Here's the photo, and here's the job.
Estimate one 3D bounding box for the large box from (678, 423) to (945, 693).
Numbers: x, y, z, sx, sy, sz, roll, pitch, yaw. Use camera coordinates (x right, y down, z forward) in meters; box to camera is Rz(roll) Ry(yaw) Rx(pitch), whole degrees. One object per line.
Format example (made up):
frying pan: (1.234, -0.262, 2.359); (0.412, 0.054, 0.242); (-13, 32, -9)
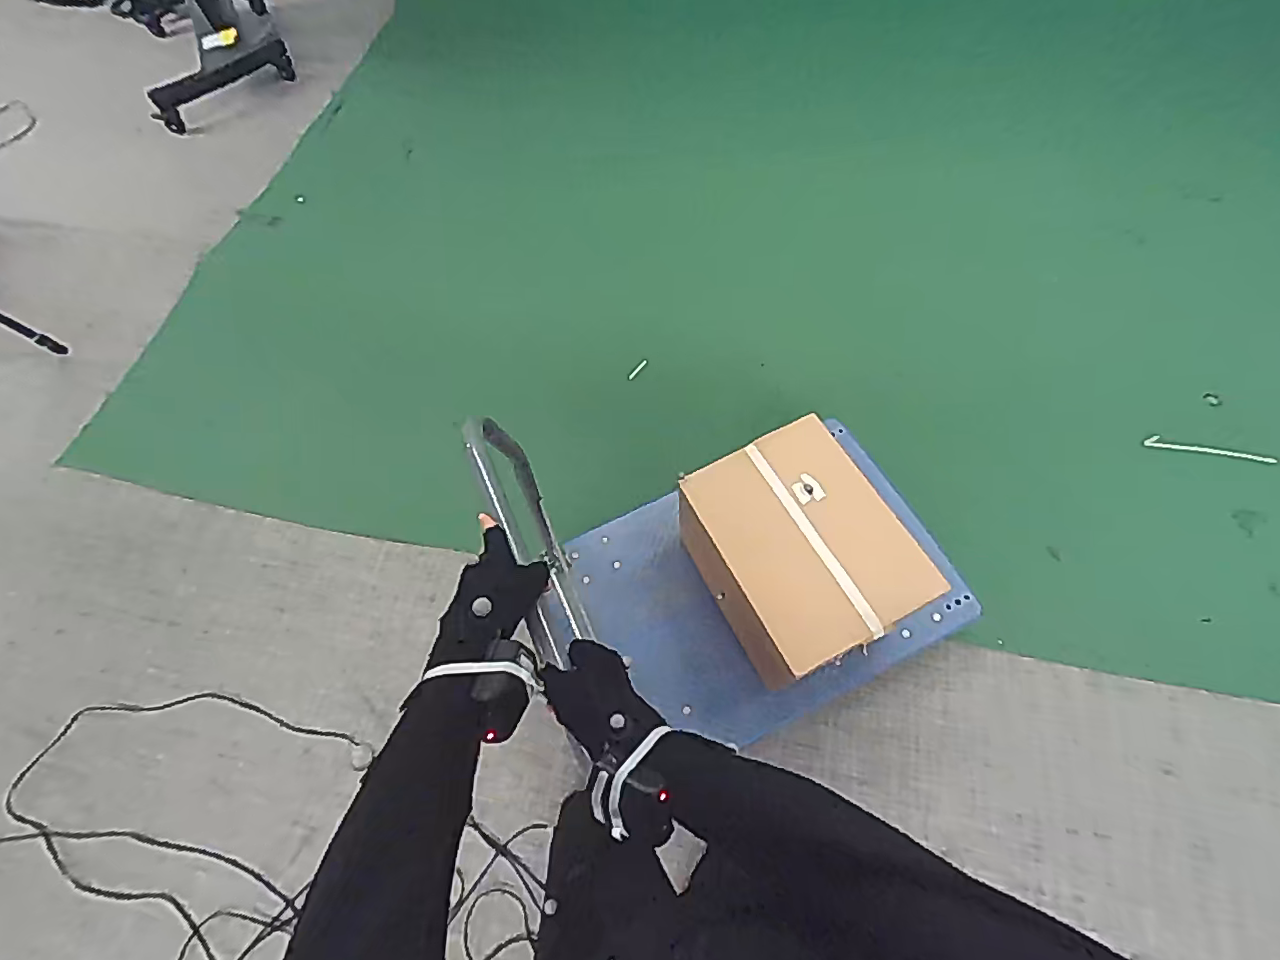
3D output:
large box: (0.311, 0.168, 1.115); (0.320, 0.320, 0.408); (-26, 64, -8)
